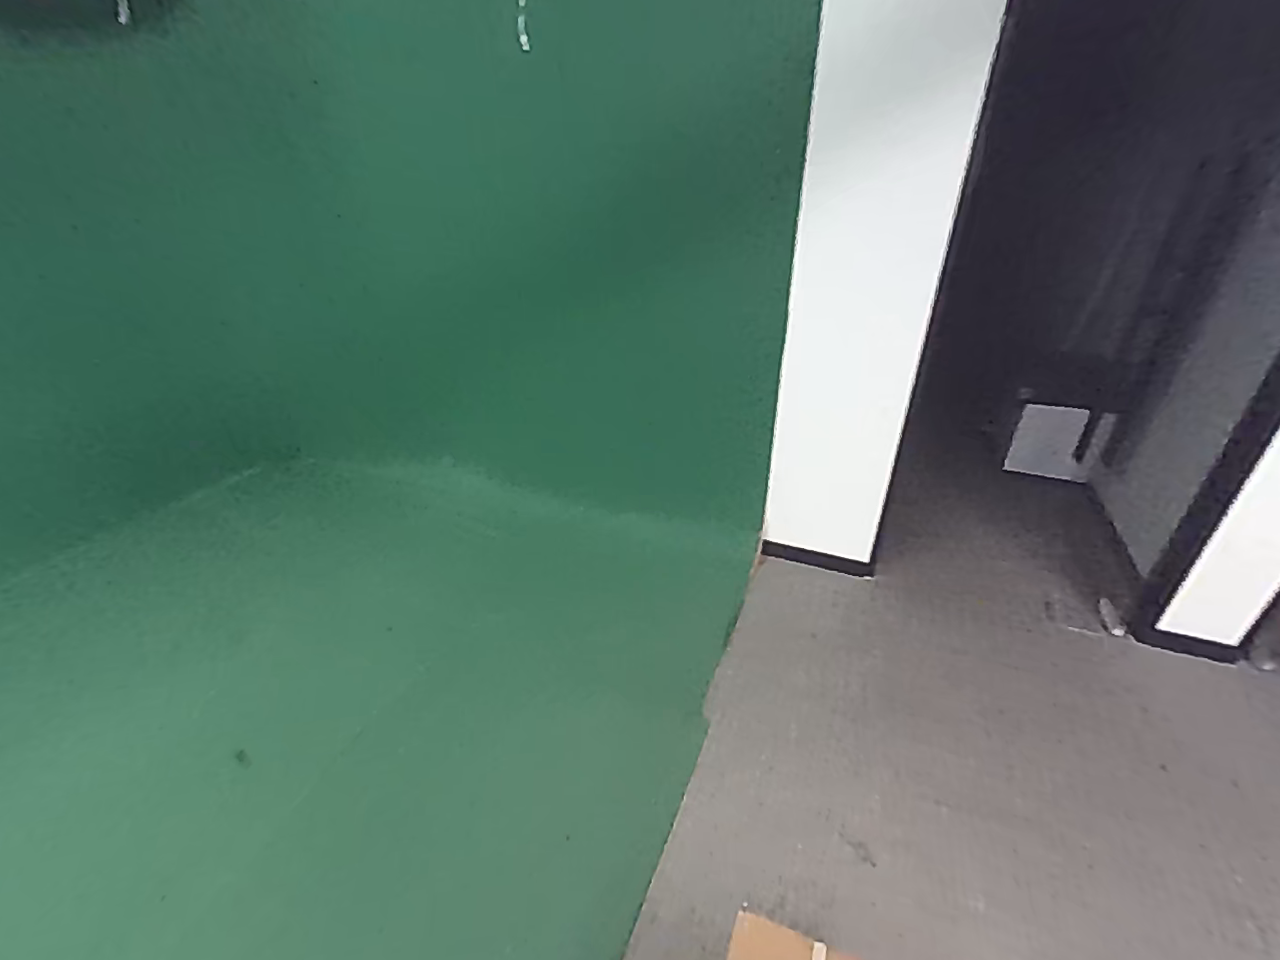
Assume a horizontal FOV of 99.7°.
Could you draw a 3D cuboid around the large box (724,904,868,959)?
[{"bbox_3d":[0.265,1.083,0.930,0.320,0.320,0.408,11,31,21],"label":"large box"}]
